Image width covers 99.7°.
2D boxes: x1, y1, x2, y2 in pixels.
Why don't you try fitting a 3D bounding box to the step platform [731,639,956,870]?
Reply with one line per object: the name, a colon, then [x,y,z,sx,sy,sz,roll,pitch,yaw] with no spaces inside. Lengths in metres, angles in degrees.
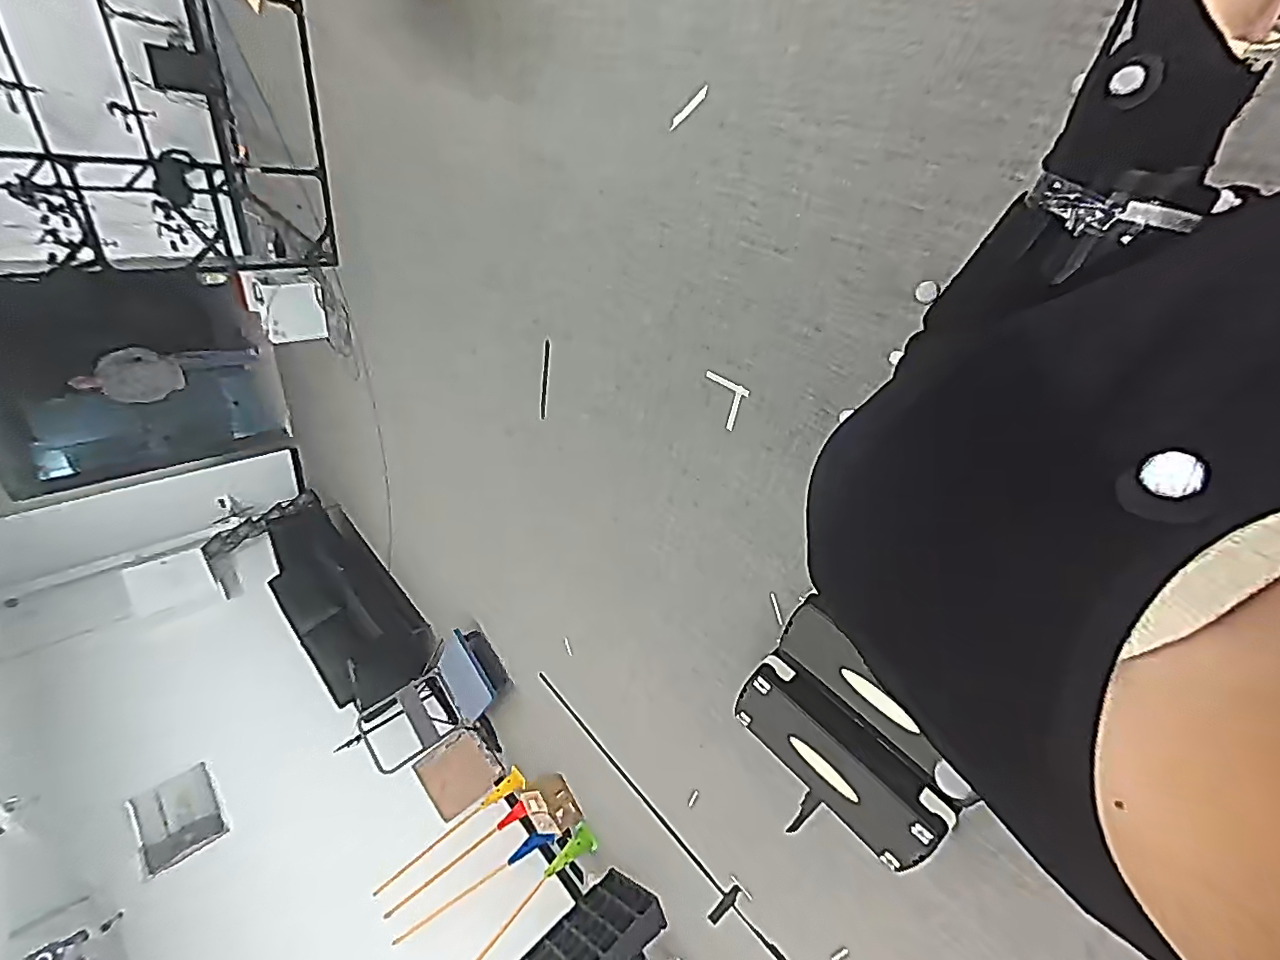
step platform: [0.615,0.861,1.731,0.684,0.204,0.286,43,135,27]
